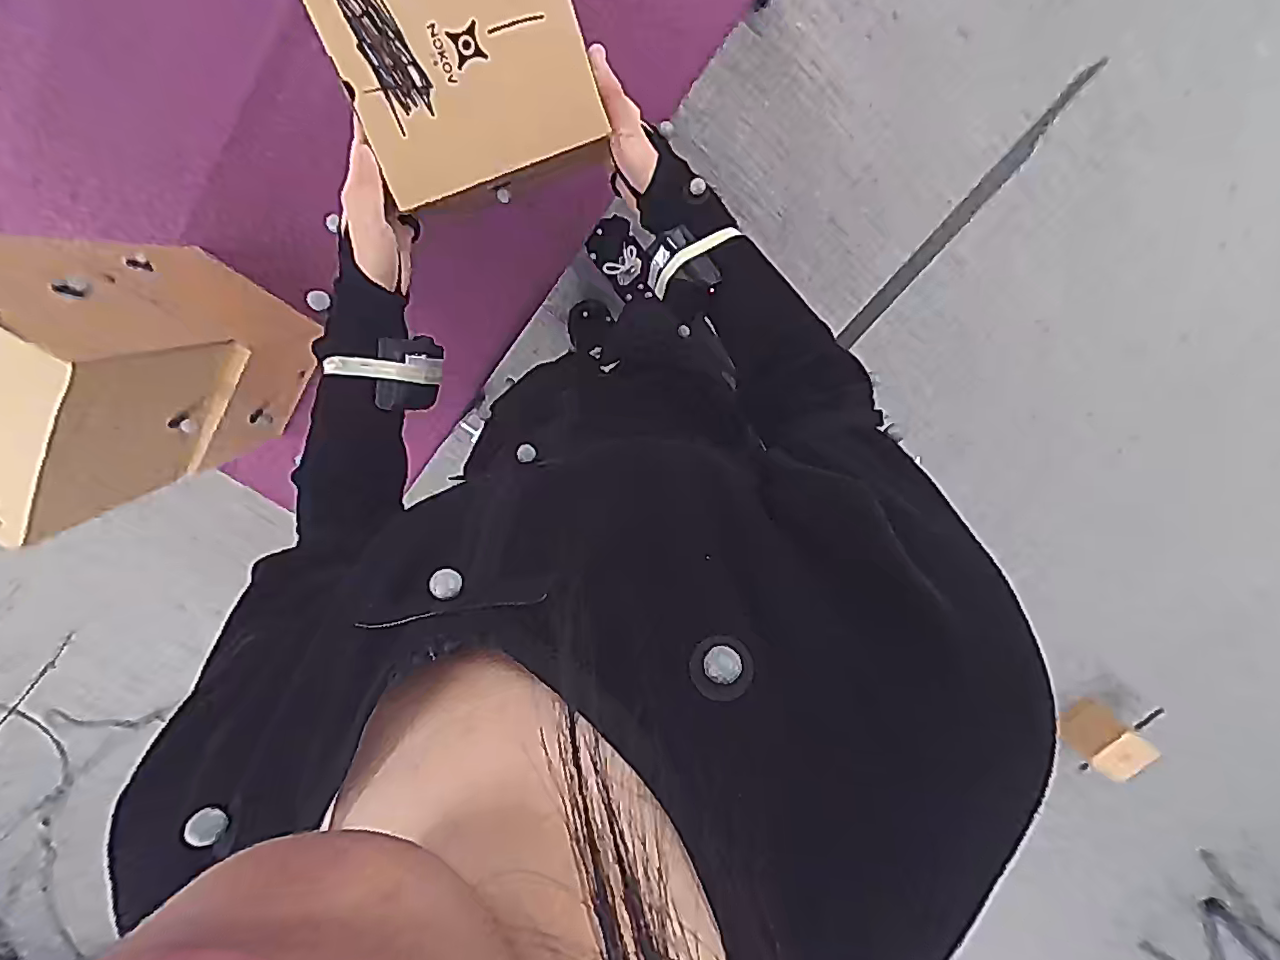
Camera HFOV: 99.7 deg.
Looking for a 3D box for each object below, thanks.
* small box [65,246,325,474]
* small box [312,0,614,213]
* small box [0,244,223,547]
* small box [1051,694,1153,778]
[{"bbox_3d":[-0.502,-0.140,0.611,0.179,0.176,0.168,33,106,-13],"label":"small box"},{"bbox_3d":[-0.127,-0.336,0.453,0.179,0.176,0.168,-16,114,5],"label":"small box"},{"bbox_3d":[-0.506,-0.083,0.457,0.168,0.176,0.179,31,106,-12],"label":"small box"},{"bbox_3d":[1.578,0.871,1.859,0.179,0.176,0.168,33,107,-15],"label":"small box"}]
